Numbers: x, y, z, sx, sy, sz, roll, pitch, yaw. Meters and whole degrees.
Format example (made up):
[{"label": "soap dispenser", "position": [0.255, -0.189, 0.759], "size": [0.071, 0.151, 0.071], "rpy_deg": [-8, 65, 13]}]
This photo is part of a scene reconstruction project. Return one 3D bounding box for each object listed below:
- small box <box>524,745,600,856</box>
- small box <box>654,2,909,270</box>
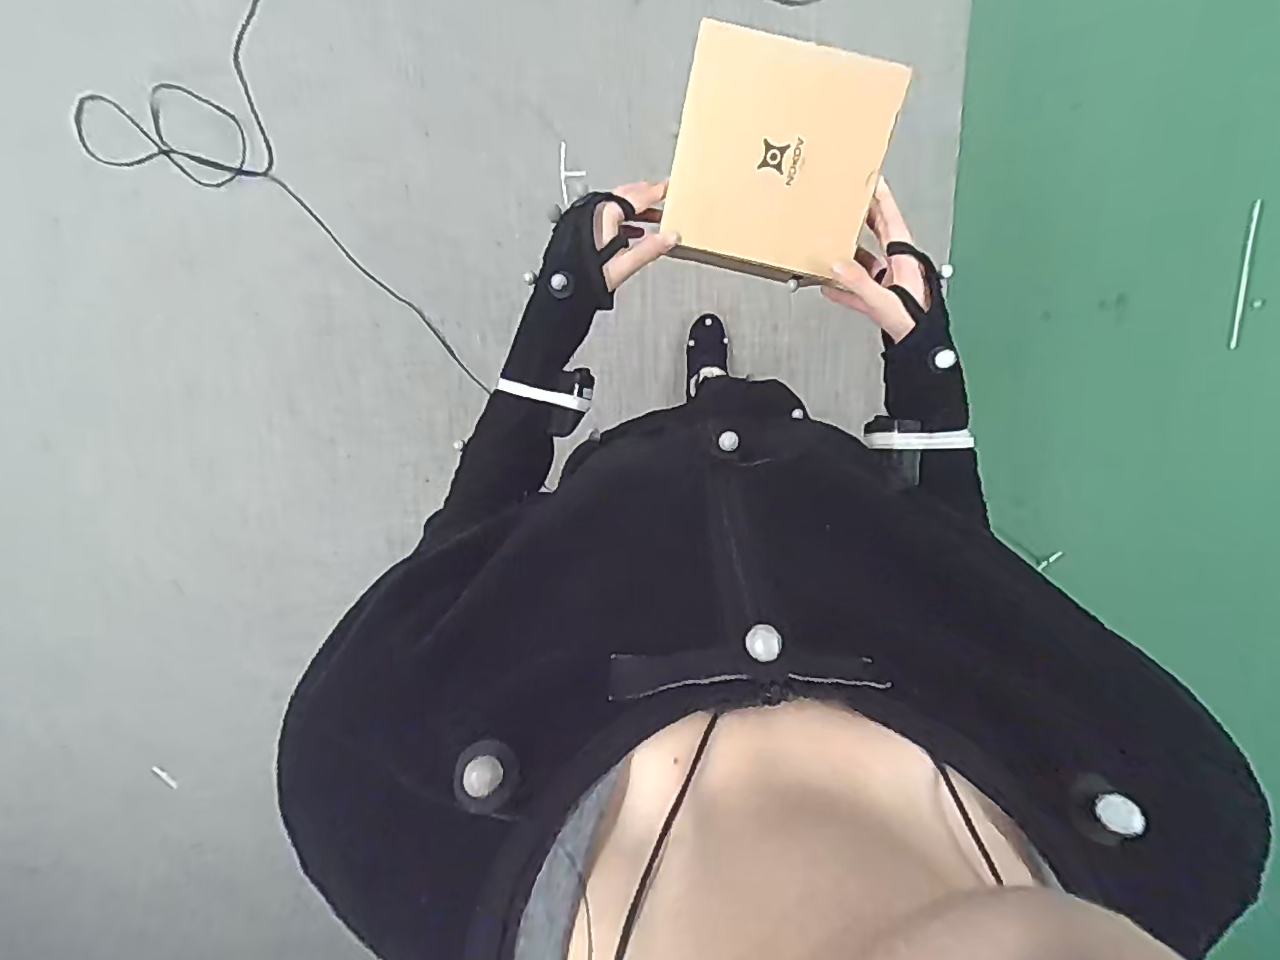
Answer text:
[{"label": "small box", "position": [-0.188, 0.777, 1.327], "size": [0.168, 0.176, 0.179], "rpy_deg": [2, 99, 0]}, {"label": "small box", "position": [0.115, -0.306, 0.523], "size": [0.179, 0.176, 0.168], "rpy_deg": [11, 109, -2]}]
